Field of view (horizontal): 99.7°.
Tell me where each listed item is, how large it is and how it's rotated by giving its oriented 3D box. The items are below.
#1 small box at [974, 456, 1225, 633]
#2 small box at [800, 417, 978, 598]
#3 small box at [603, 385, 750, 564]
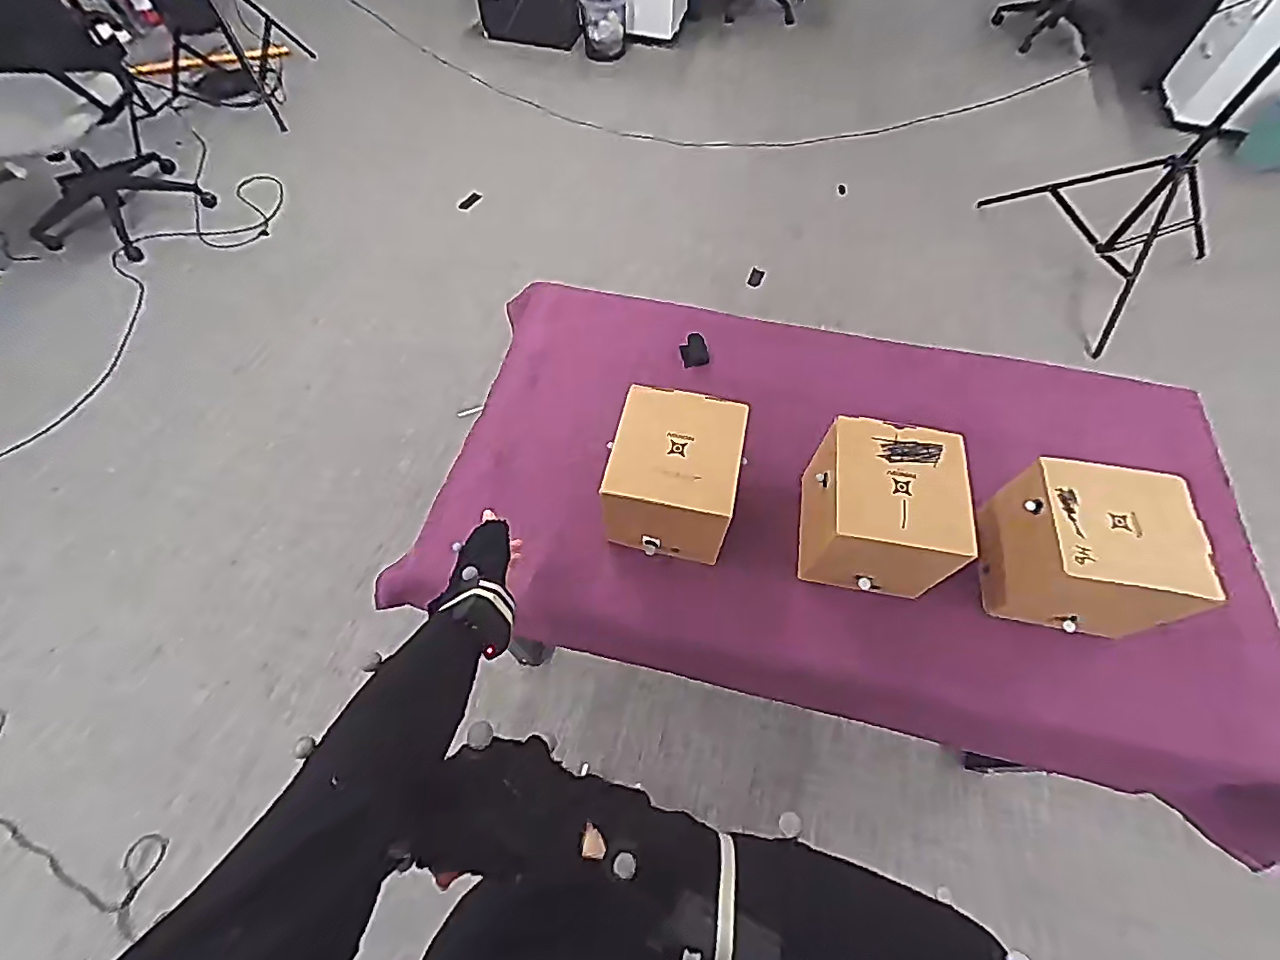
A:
[{"bbox_3d":[0.582,0.093,0.716,0.179,0.176,0.168,10,60,5],"label":"small box"},{"bbox_3d":[0.324,0.042,0.740,0.168,0.176,0.179,9,61,5],"label":"small box"},{"bbox_3d":[0.050,-0.004,0.763,0.168,0.176,0.179,10,61,6],"label":"small box"}]
